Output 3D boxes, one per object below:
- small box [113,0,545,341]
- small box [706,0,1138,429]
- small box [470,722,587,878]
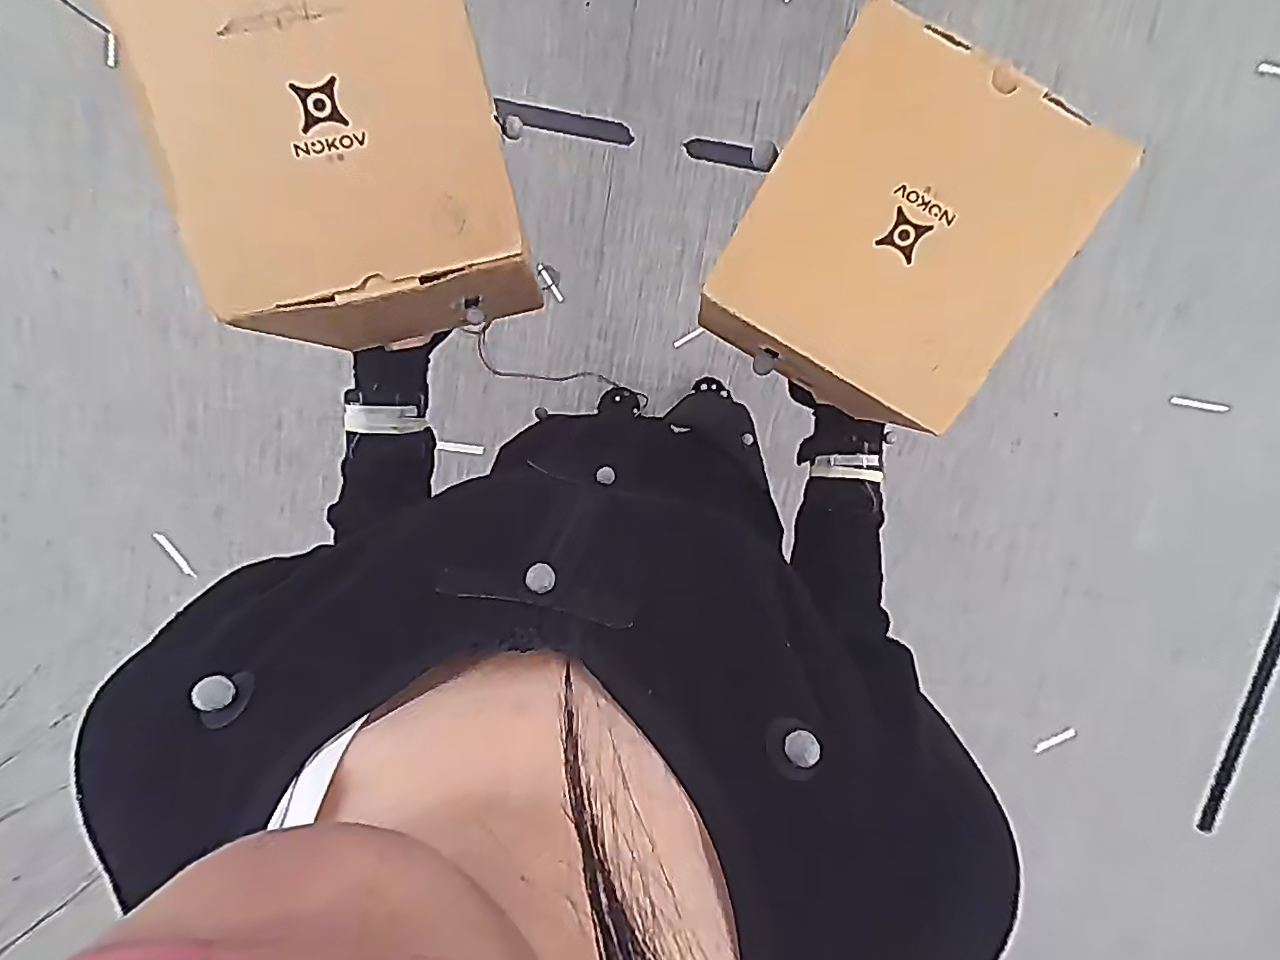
[{"bbox_3d":[-0.164,-0.195,0.351,0.168,0.176,0.179,-15,99,-5],"label":"small box"},{"bbox_3d":[0.159,-0.153,0.377,0.168,0.176,0.179,30,99,0],"label":"small box"},{"bbox_3d":[-0.201,0.593,1.024,0.168,0.176,0.179,15,98,-1],"label":"small box"}]
